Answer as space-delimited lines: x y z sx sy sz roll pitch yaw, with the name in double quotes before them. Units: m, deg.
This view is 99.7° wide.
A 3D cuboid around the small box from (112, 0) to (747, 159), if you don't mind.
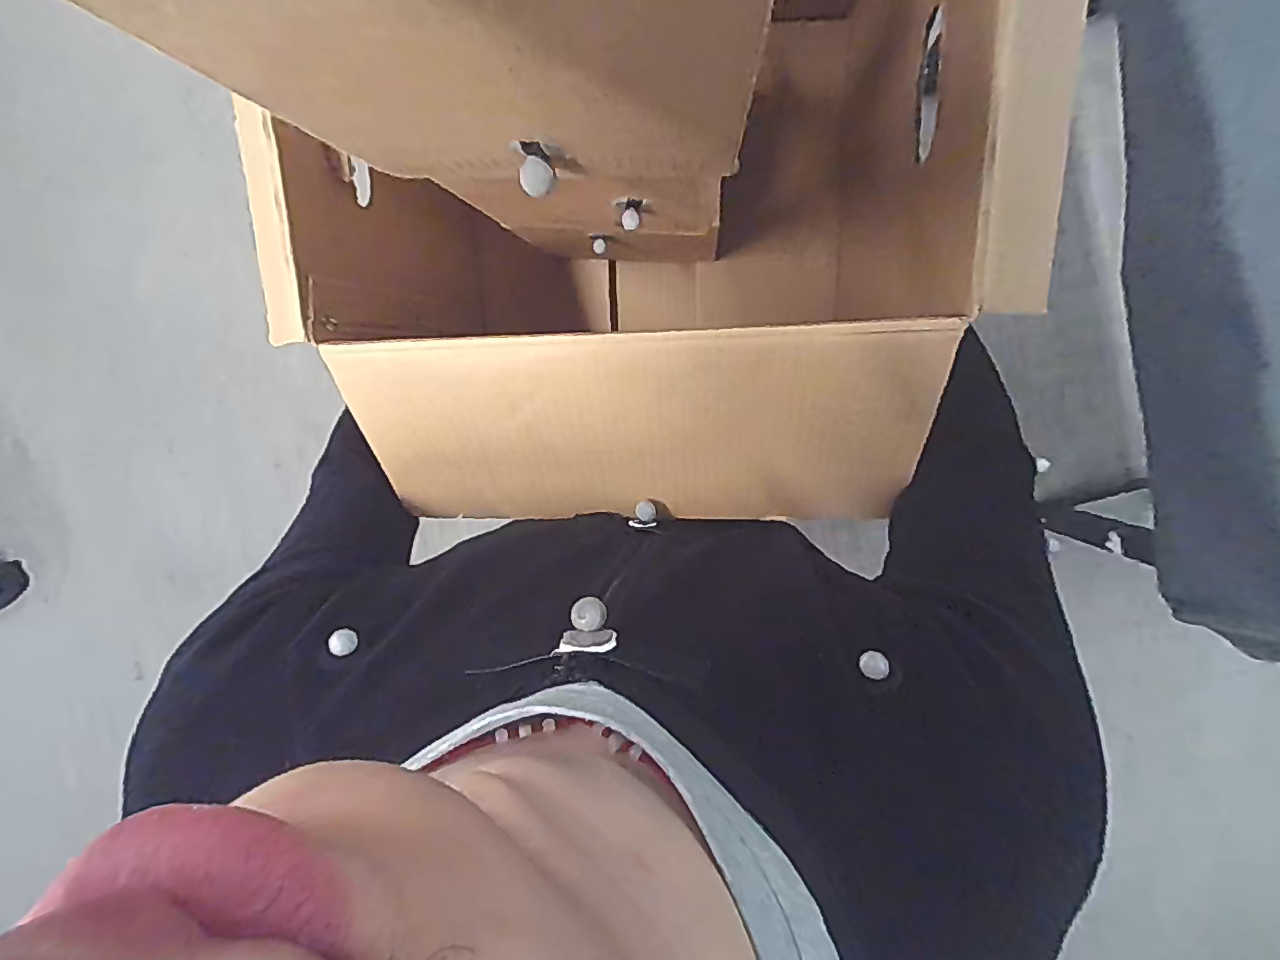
"small box" -0.050 -0.213 0.161 0.179 0.176 0.168 3 104 5
